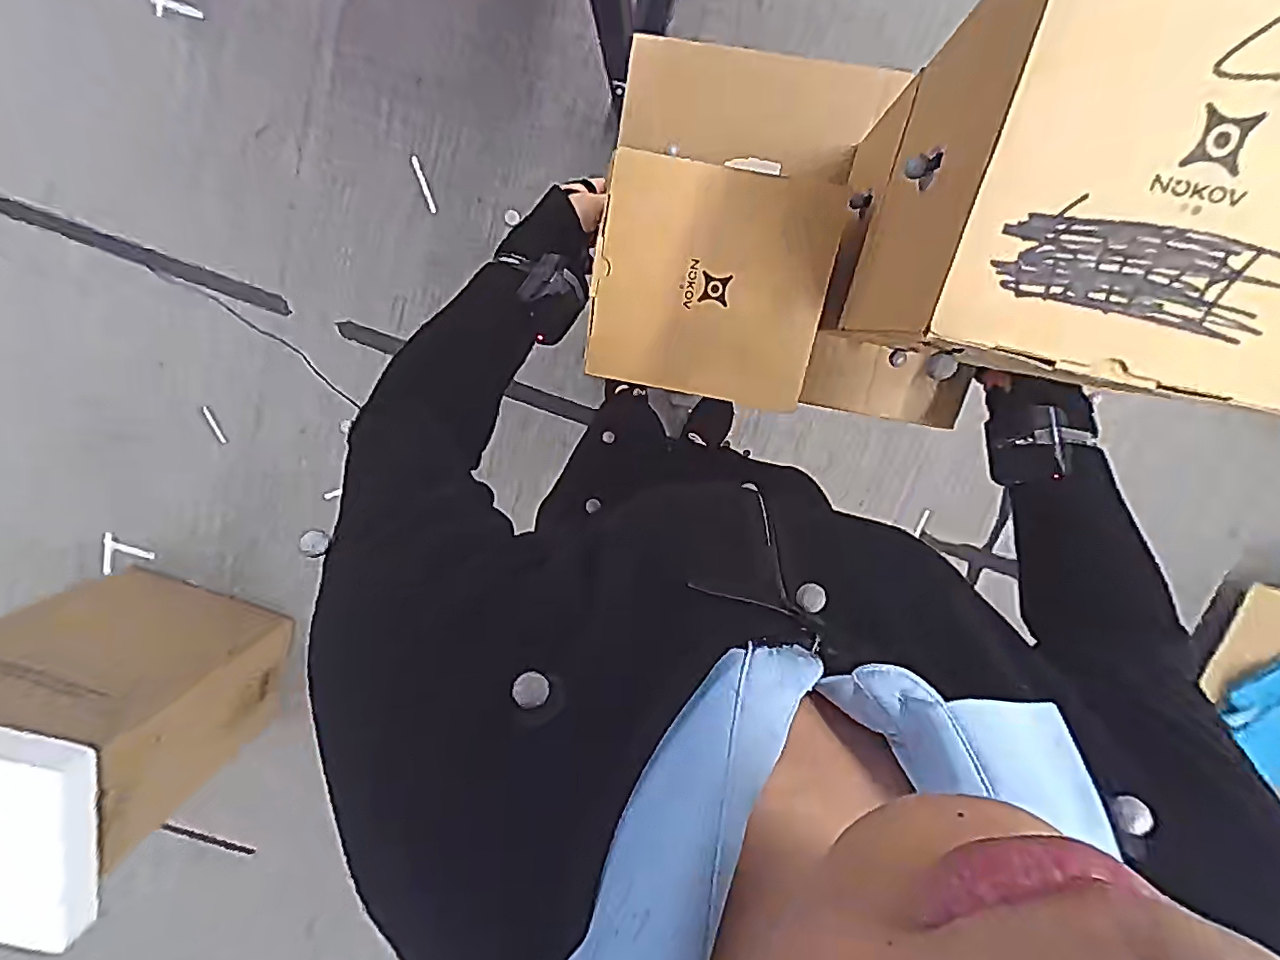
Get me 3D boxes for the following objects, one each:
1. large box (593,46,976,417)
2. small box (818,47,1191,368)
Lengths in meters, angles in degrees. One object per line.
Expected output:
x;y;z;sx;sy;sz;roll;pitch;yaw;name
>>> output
0.181;-0.281;0.684;0.408;0.320;0.320;10;106;5;large box
0.258;-0.200;0.440;0.168;0.176;0.179;13;108;5;small box
